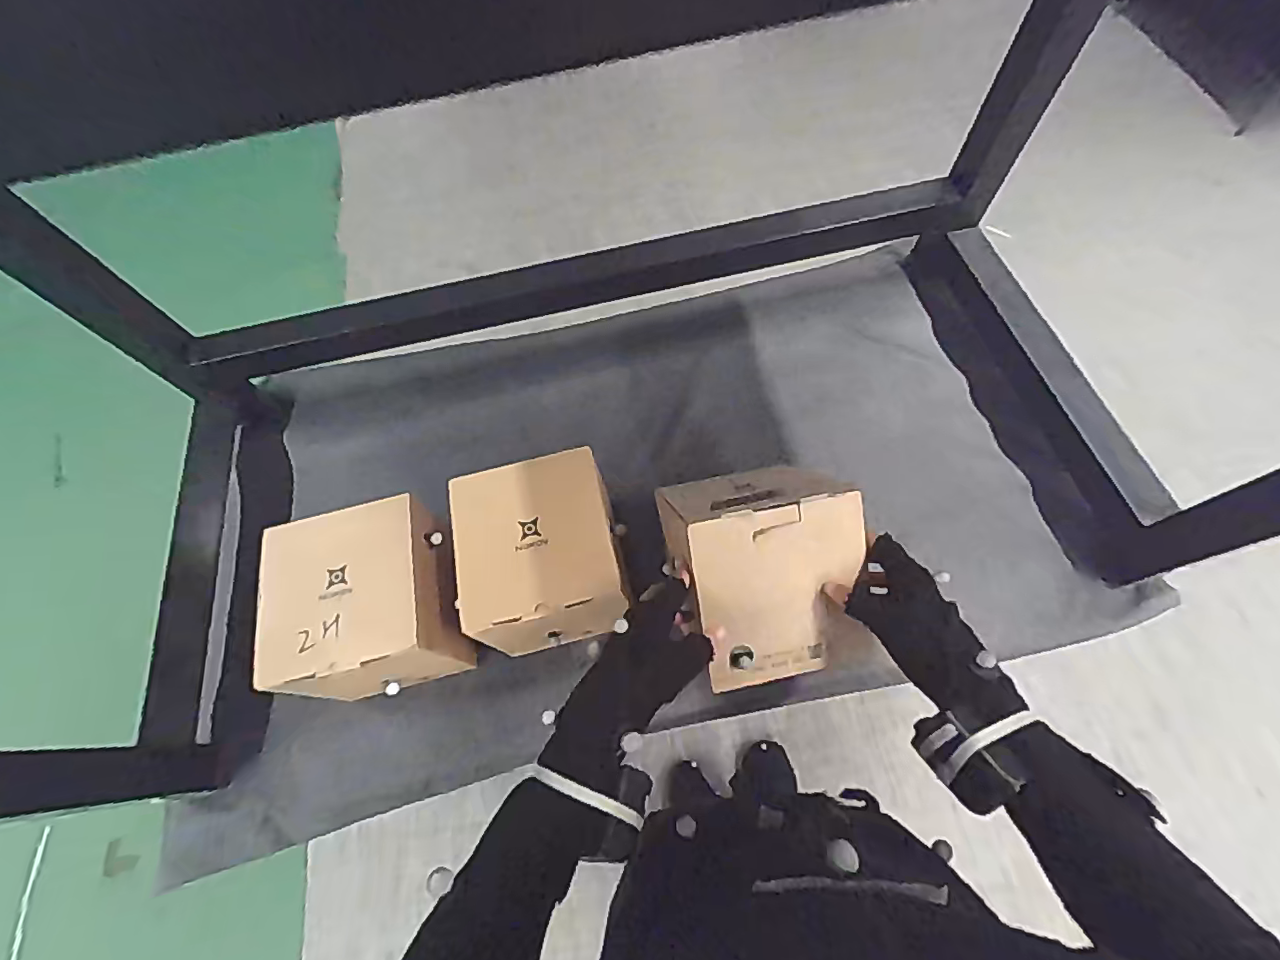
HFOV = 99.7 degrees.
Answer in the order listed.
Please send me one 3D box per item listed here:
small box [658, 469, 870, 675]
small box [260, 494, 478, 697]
[{"bbox_3d":[0.123,0.092,0.577,0.168,0.179,0.176,-10,97,-6],"label":"small box"},{"bbox_3d":[-0.304,0.143,0.639,0.168,0.176,0.179,-14,64,-2],"label":"small box"}]
